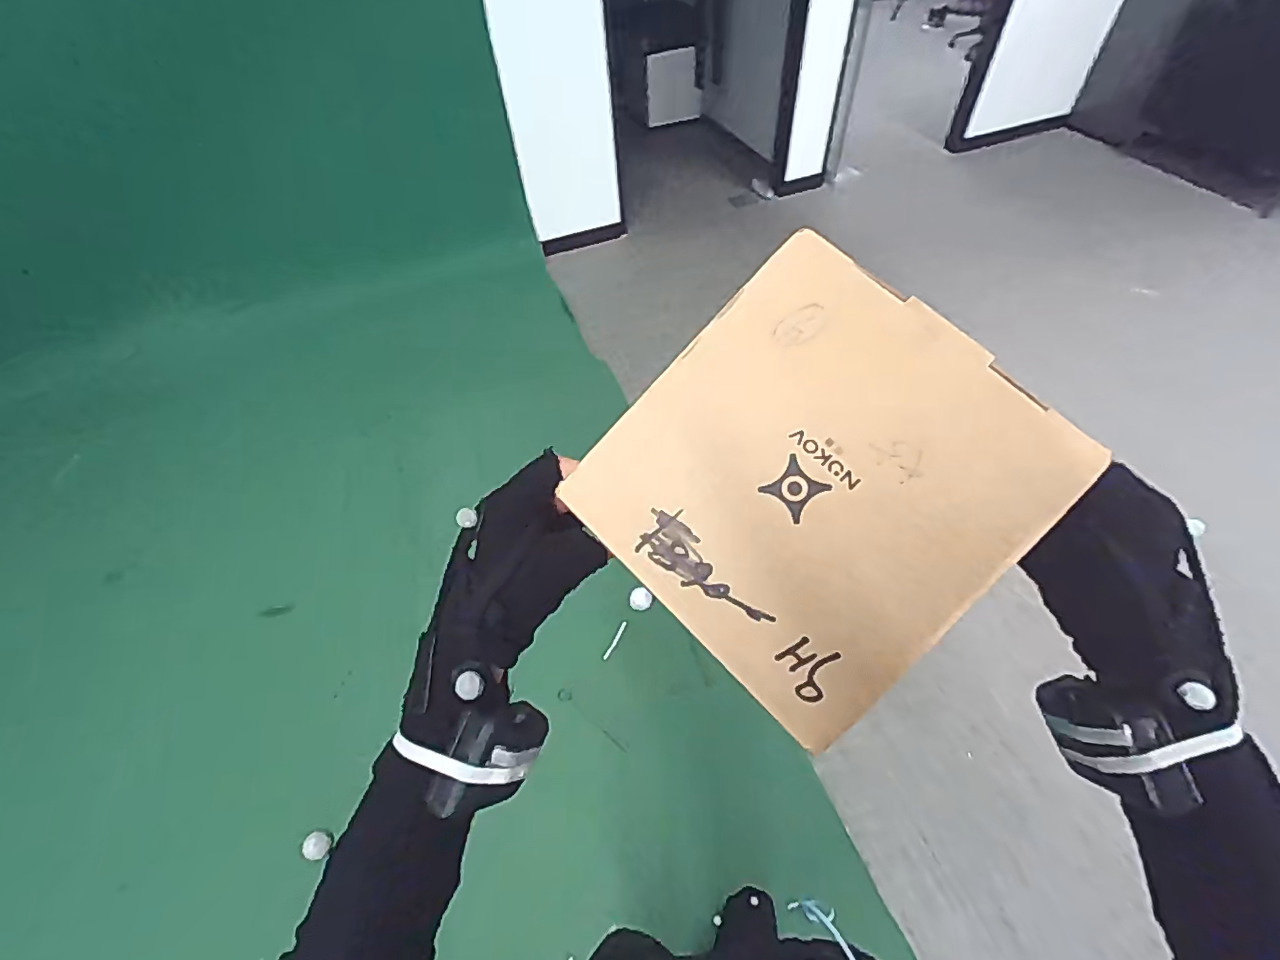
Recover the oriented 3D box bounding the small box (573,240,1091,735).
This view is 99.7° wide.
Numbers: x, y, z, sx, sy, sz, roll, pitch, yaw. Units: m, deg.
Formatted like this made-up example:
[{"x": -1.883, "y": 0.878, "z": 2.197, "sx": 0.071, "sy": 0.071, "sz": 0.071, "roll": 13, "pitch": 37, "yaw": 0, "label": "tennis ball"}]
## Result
[{"x": 0.093, "y": 0.007, "z": 0.328, "sx": 0.179, "sy": 0.176, "sz": 0.168, "roll": -46, "pitch": 76, "yaw": 2, "label": "small box"}]
